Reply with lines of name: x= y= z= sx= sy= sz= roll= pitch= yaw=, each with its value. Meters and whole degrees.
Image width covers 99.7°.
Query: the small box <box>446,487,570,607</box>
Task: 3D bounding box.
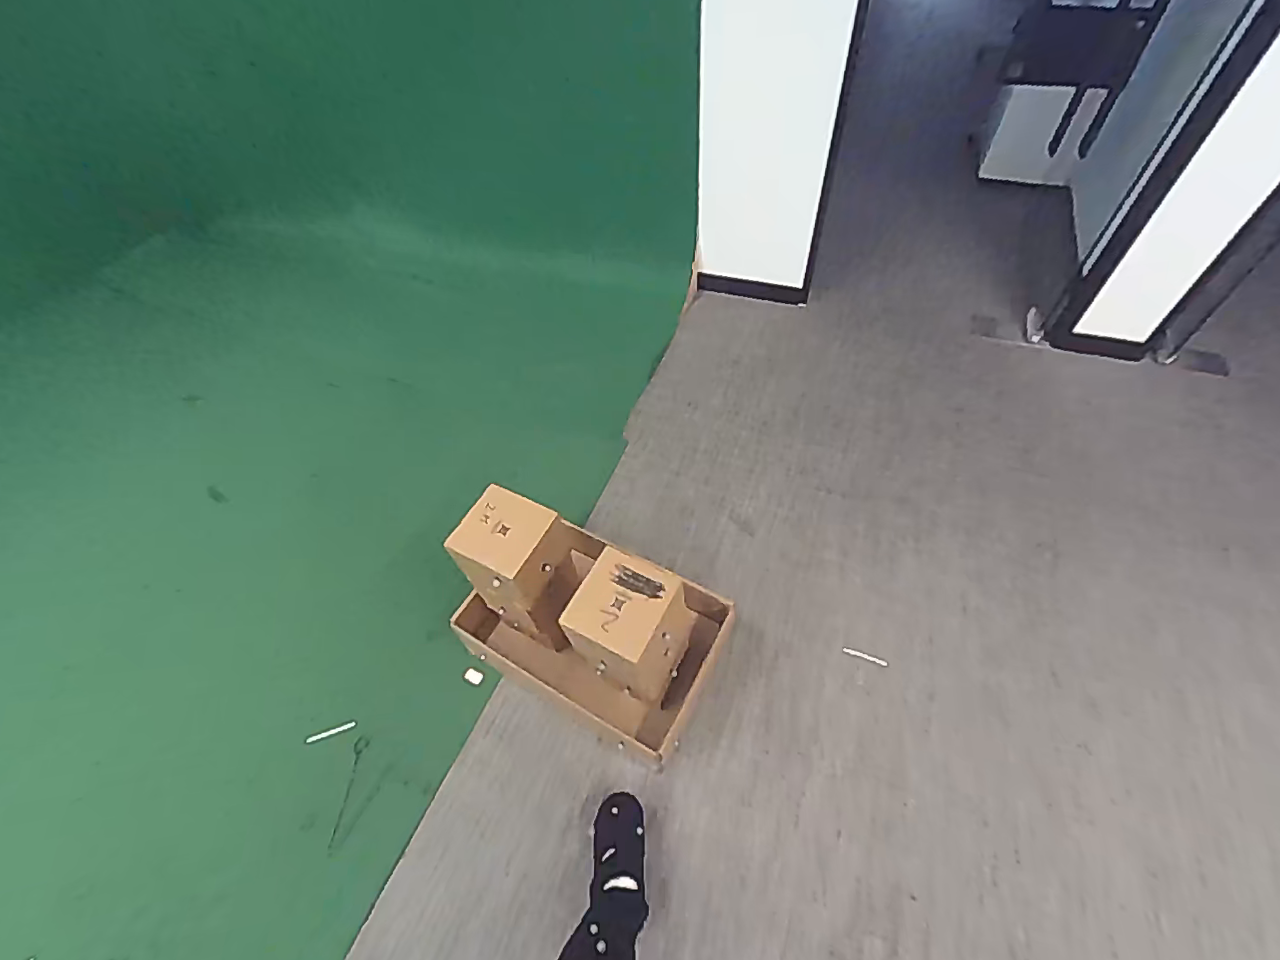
small box: x=-0.270 y=0.150 z=1.156 sx=0.179 sy=0.176 sz=0.168 roll=22 pitch=59 yaw=19

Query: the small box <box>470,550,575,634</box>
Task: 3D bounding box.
small box: x=-0.270 y=0.237 z=1.296 sx=0.168 sy=0.176 sz=0.179 roll=23 pitch=60 yaw=19

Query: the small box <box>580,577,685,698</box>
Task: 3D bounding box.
small box: x=-0.006 y=0.350 z=1.187 sx=0.168 sy=0.176 sz=0.179 roll=22 pitch=58 yaw=20
